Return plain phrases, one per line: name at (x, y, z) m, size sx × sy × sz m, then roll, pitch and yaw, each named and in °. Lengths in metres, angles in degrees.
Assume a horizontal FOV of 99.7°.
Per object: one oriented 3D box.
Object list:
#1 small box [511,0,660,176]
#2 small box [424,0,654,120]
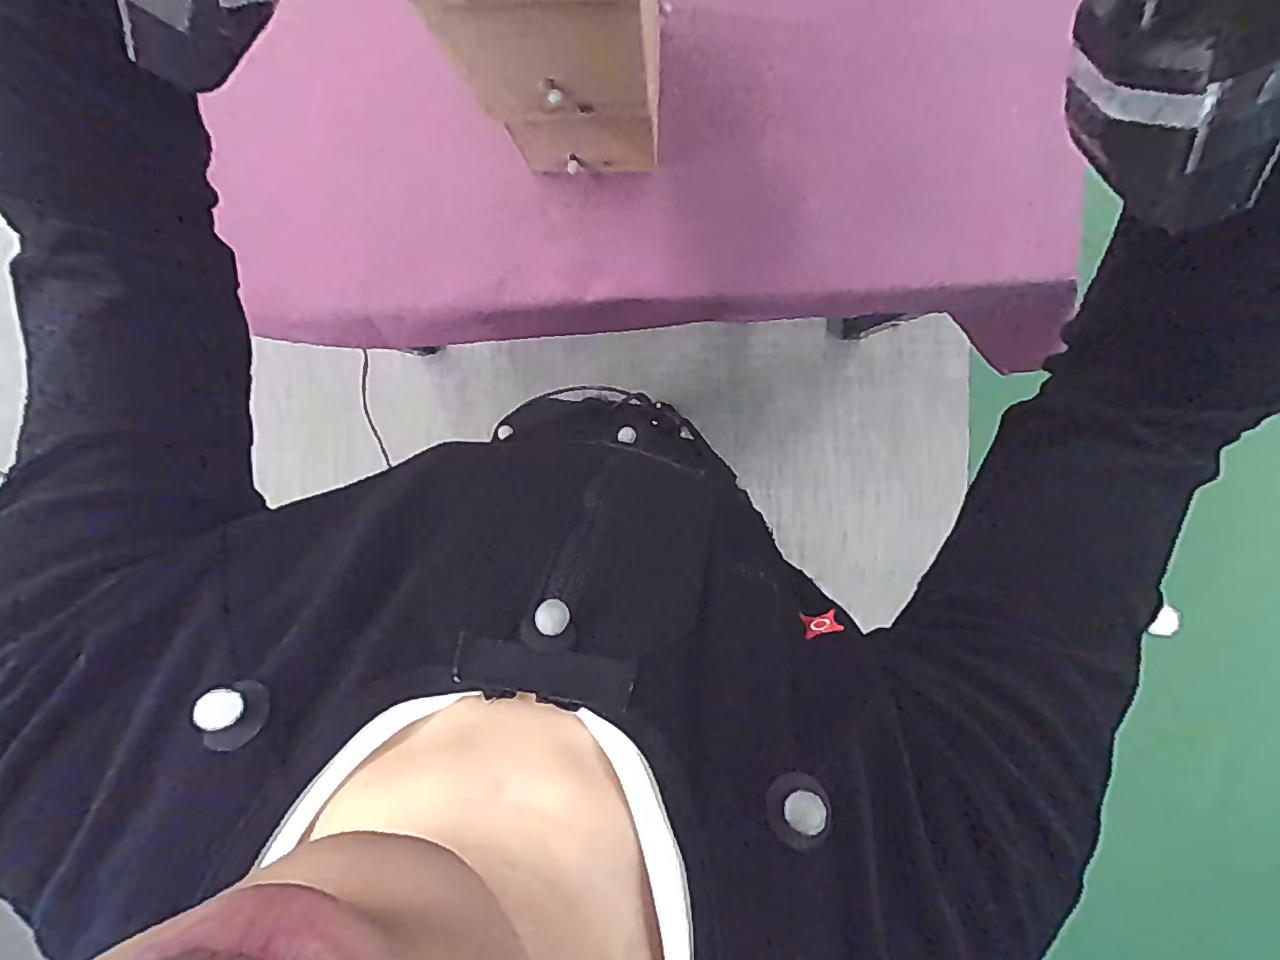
small box at (-0.063, -0.470, 0.606) m, size 0.168 × 0.176 × 0.179 m, roll 2°, pitch 98°, yaw 3°
small box at (-0.075, -0.435, 0.446) m, size 0.168 × 0.176 × 0.179 m, roll 0°, pitch 97°, yaw 4°
